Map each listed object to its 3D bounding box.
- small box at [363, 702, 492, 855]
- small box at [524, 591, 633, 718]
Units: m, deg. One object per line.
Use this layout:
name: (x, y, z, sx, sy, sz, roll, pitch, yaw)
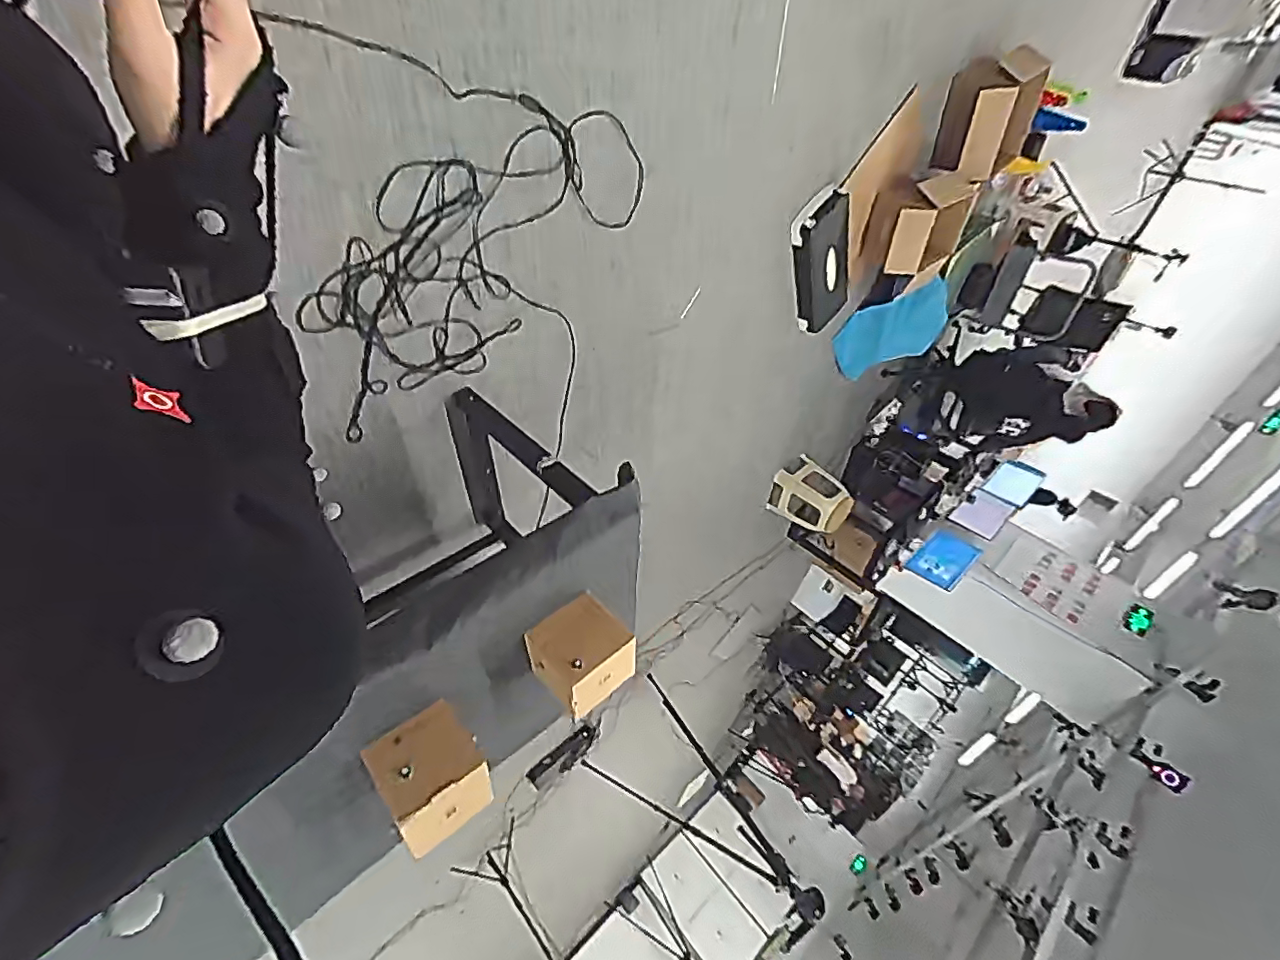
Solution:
small box: (-0.407, 0.562, 1.040, 0.168, 0.176, 0.179, -27, 141, -33)
small box: (-0.136, 0.382, 1.212, 0.179, 0.176, 0.168, -31, 143, -29)
